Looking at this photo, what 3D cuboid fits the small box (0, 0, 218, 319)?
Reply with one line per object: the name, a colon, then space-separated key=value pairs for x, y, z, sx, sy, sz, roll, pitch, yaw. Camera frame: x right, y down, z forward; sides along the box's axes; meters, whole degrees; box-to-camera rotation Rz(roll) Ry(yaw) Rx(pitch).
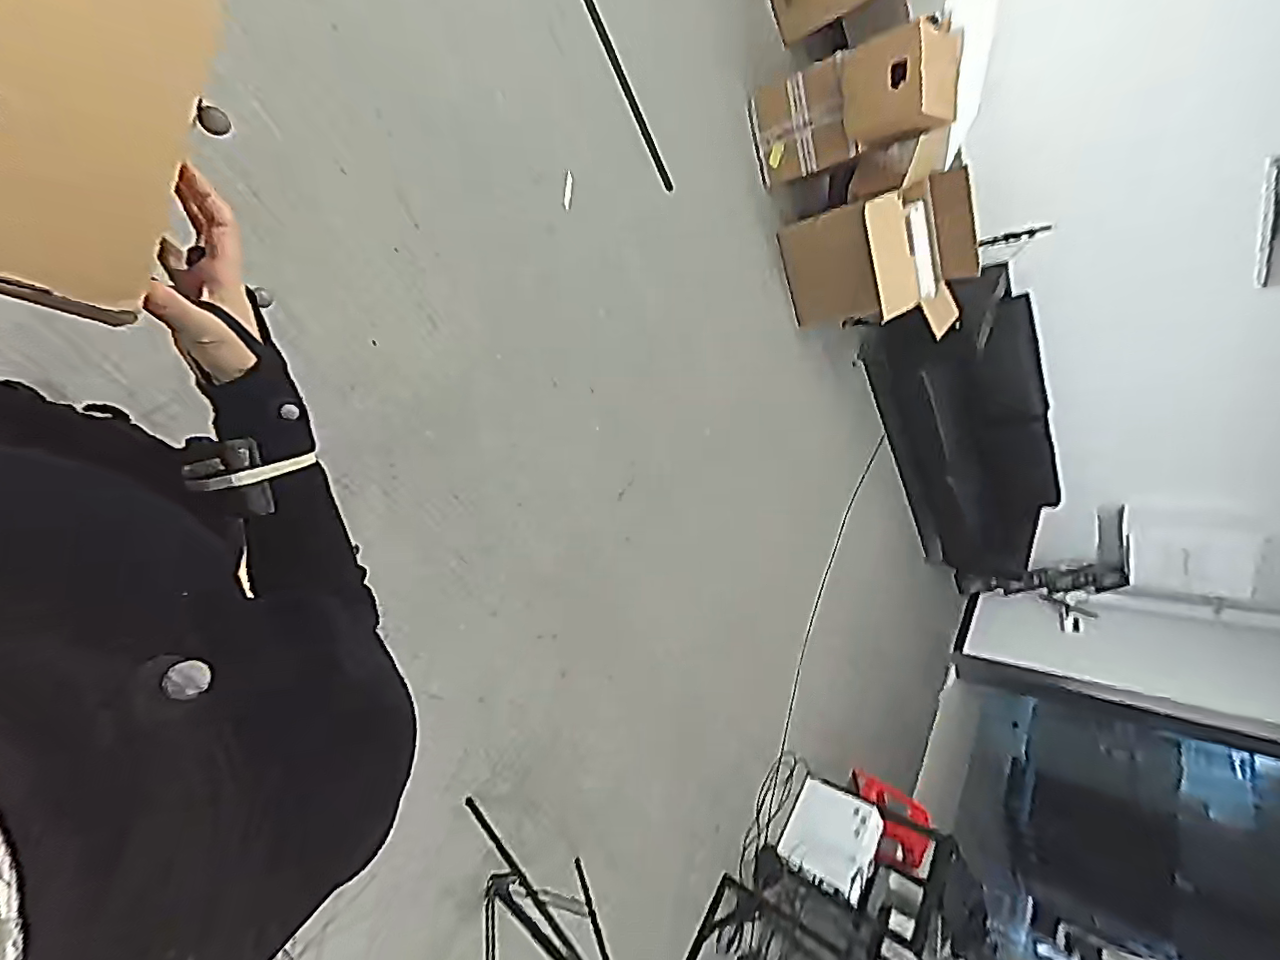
small box: x=-0.356 y=-0.199 z=0.282 sx=0.168 sy=0.176 sz=0.179 roll=15 pitch=89 yaw=-47
